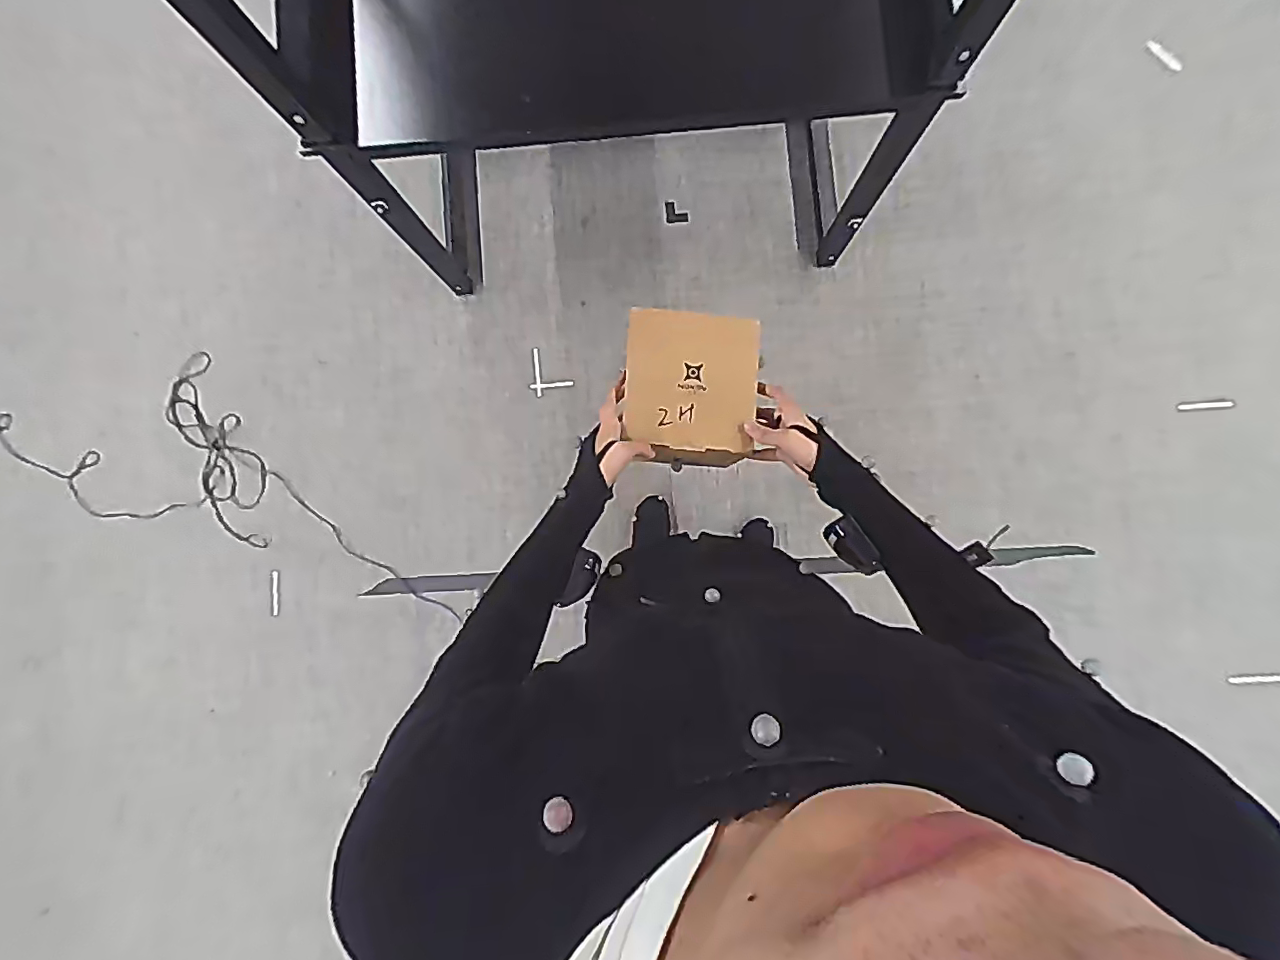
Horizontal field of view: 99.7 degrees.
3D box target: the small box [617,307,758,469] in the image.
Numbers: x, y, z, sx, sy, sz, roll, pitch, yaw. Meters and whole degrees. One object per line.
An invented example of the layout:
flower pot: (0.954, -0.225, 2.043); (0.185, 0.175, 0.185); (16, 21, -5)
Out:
small box: (0.056, -0.116, 0.744); (0.168, 0.176, 0.179); (5, 85, -1)
